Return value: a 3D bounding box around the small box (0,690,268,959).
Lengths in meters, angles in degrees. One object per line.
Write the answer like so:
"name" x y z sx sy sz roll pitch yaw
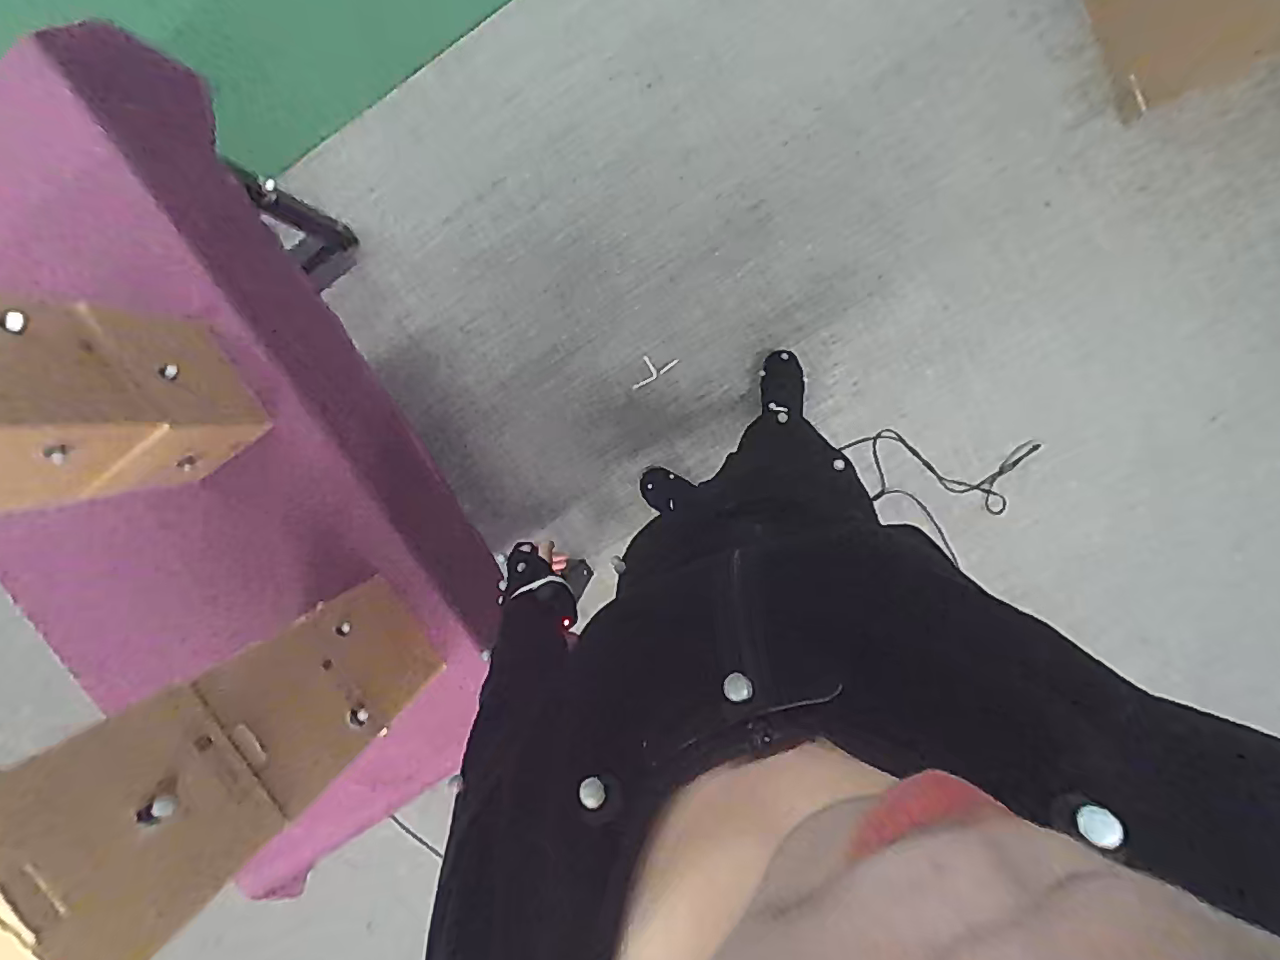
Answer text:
"small box" -0.440 0.301 0.422 0.179 0.176 0.168 -34 92 8

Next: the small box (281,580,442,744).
"small box" -0.411 0.268 0.748 0.168 0.176 0.179 -34 93 8

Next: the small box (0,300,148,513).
"small box" -0.673 -0.075 0.557 0.179 0.176 0.168 -34 93 9

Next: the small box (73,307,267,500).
"small box" -0.654 -0.099 0.717 0.168 0.176 0.179 -32 94 7

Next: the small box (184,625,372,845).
"small box" -0.428 0.289 0.586 0.179 0.176 0.168 -34 93 10
